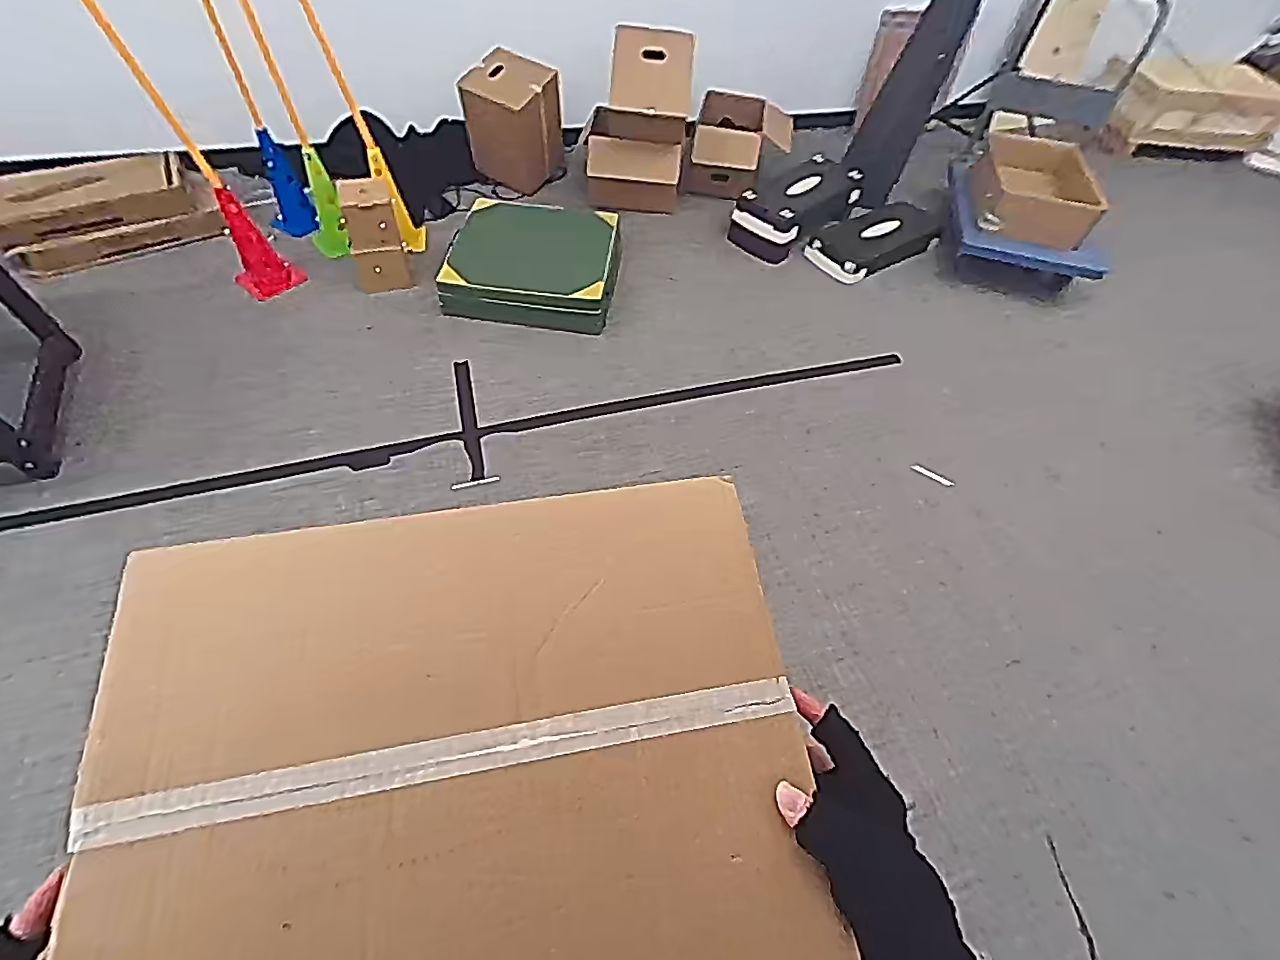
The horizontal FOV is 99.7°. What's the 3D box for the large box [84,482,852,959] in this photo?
[{"bbox_3d":[-0.111,0.227,0.464,0.408,0.320,0.320,-7,67,-7],"label":"large box"}]
